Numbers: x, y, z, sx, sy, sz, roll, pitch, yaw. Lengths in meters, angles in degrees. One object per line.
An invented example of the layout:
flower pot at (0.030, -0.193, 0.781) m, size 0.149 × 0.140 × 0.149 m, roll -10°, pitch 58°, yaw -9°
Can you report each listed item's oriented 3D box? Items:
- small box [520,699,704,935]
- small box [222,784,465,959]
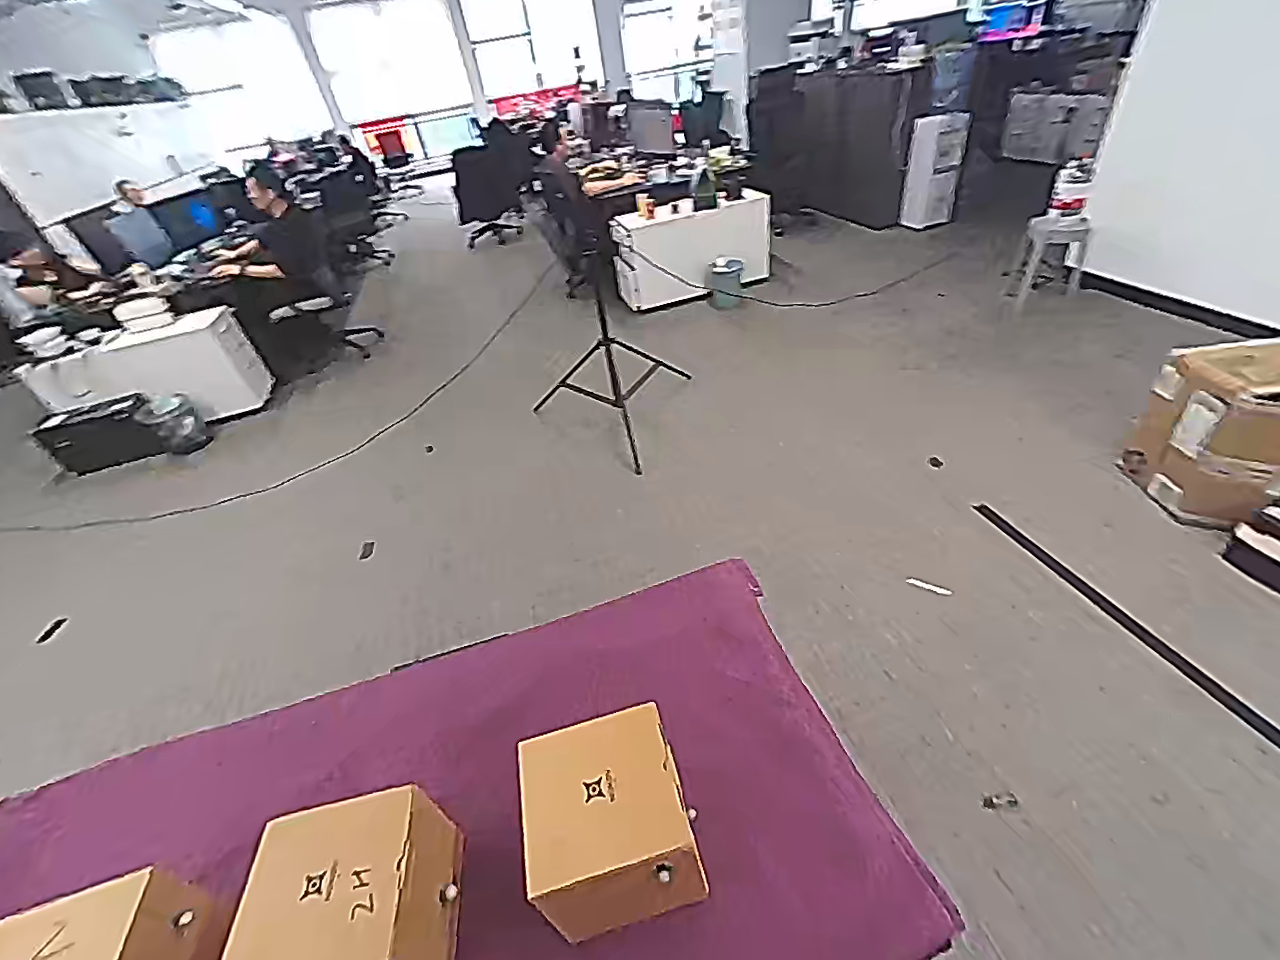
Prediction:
small box at (-0.033, 0.404, 0.651) m, size 0.179 × 0.176 × 0.168 m, roll -15°, pitch 37°, yaw -6°
small box at (-0.320, 0.484, 0.615) m, size 0.179 × 0.176 × 0.168 m, roll -12°, pitch 38°, yaw -3°
